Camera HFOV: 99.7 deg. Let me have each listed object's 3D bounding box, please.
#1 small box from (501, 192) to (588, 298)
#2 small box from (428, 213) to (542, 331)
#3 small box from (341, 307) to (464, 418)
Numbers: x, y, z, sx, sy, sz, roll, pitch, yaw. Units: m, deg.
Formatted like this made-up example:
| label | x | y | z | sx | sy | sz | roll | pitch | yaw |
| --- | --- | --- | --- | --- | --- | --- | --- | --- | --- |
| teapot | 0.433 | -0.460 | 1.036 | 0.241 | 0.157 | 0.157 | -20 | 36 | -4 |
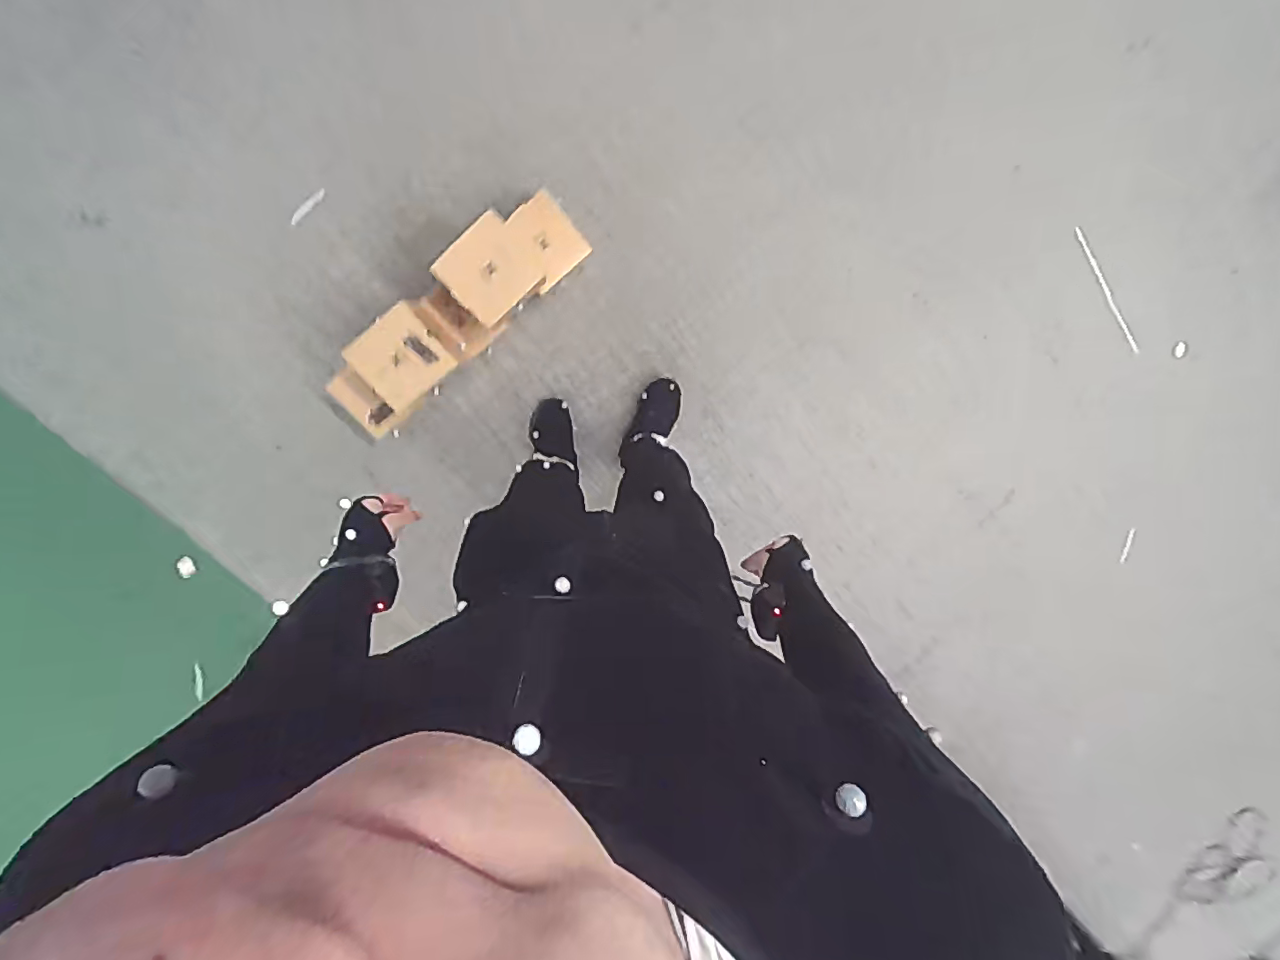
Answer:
| label | x | y | z | sx | sy | sz | roll | pitch | yaw |
| --- | --- | --- | --- | --- | --- | --- | --- | --- | --- |
| small box | -0.247 | -0.572 | 1.342 | 0.168 | 0.176 | 0.179 | -41 | 107 | 4 |
| small box | -0.330 | -0.446 | 1.193 | 0.179 | 0.176 | 0.168 | -43 | 107 | 2 |
| small box | -0.517 | -0.267 | 1.211 | 0.179 | 0.176 | 0.168 | -39 | 106 | 4 |
